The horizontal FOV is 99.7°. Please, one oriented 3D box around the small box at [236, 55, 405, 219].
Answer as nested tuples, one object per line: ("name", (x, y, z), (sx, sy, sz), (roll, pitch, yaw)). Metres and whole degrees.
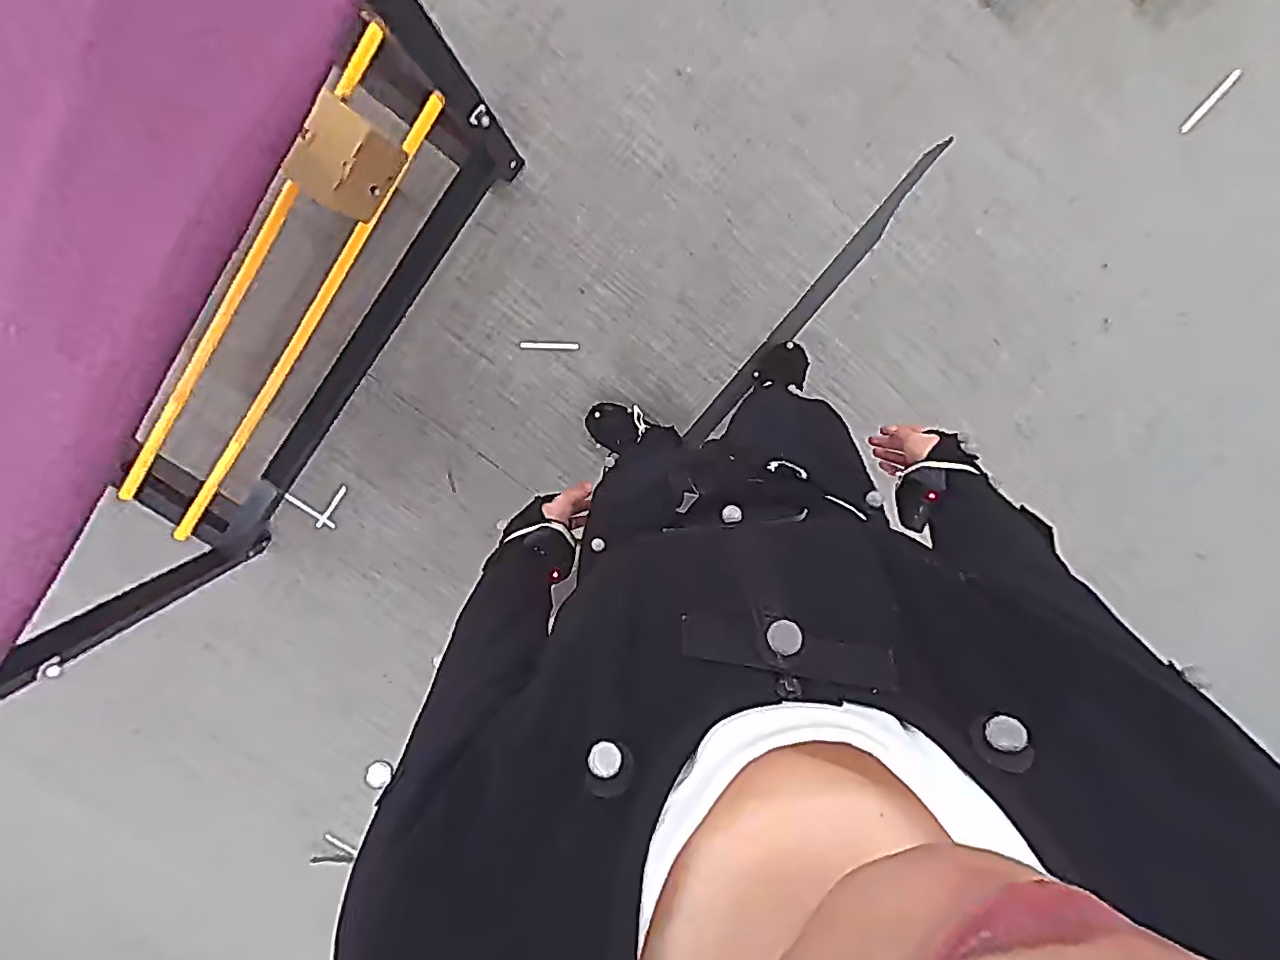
("small box", (-0.579, -0.616, 1.002), (0.179, 0.176, 0.168), (37, 102, -11))
